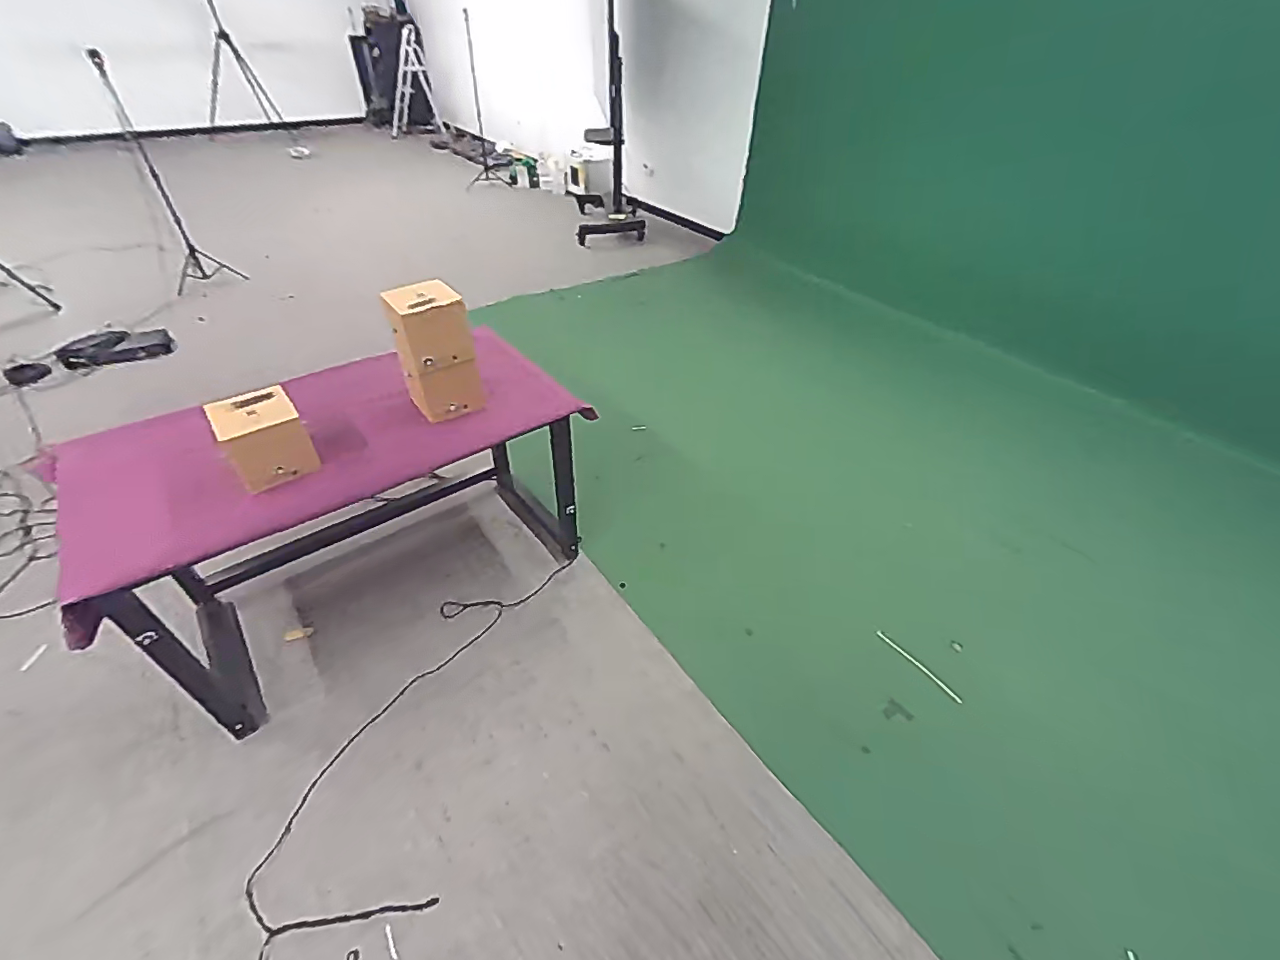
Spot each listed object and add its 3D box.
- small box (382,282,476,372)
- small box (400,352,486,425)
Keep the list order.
[{"bbox_3d":[-0.560,-0.405,1.449,0.168,0.176,0.179,-26,47,-27],"label":"small box"},{"bbox_3d":[-0.564,-0.284,1.559,0.168,0.176,0.179,-26,48,-26],"label":"small box"}]
